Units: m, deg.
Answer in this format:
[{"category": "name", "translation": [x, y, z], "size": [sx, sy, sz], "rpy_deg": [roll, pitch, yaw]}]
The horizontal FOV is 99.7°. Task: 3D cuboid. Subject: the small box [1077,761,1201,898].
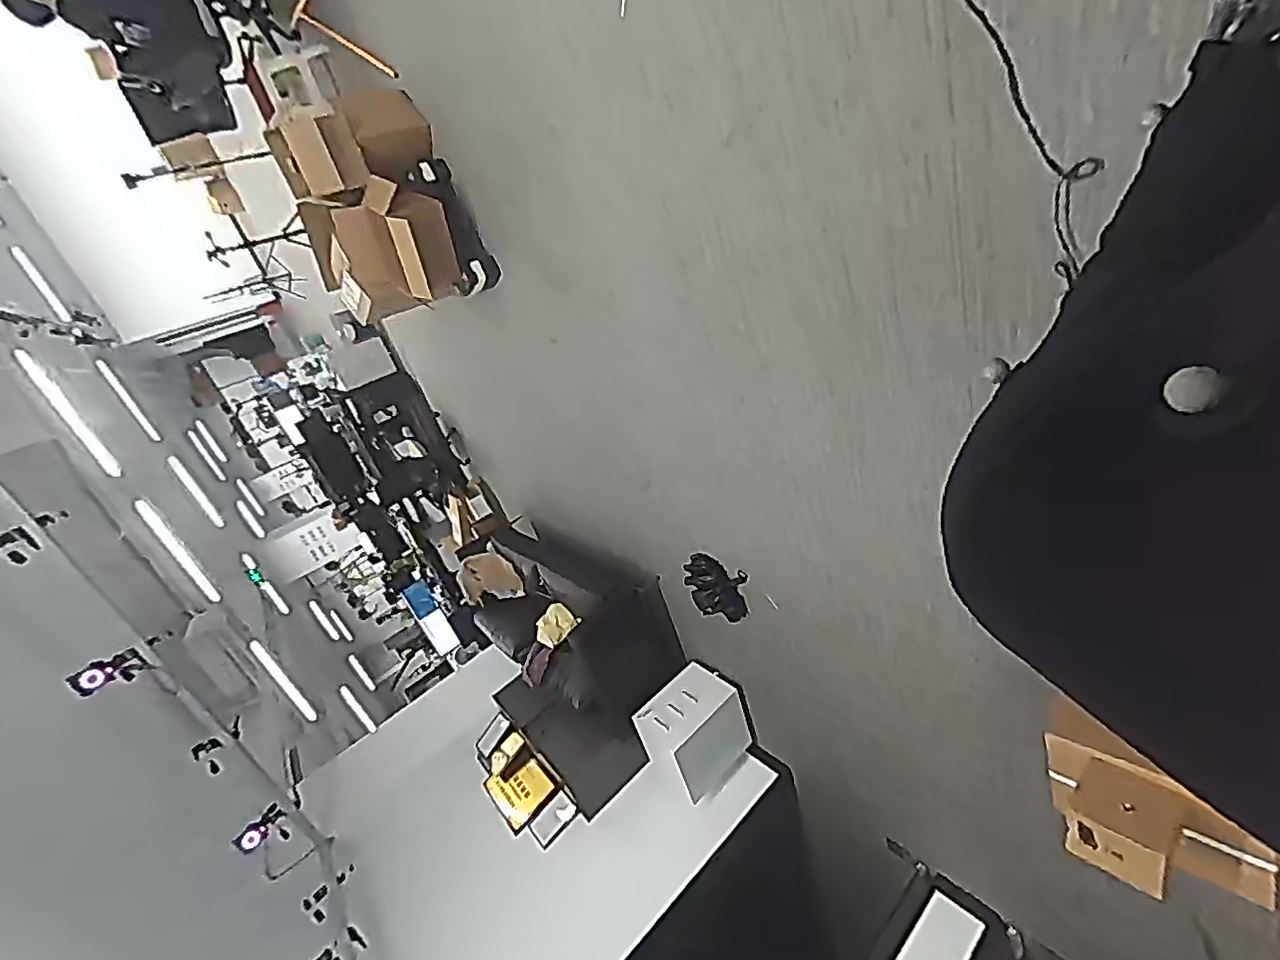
[{"category": "small box", "translation": [1.150, 0.793, 1.252], "size": [0.179, 0.176, 0.168], "rpy_deg": [13, 129, 52]}]
